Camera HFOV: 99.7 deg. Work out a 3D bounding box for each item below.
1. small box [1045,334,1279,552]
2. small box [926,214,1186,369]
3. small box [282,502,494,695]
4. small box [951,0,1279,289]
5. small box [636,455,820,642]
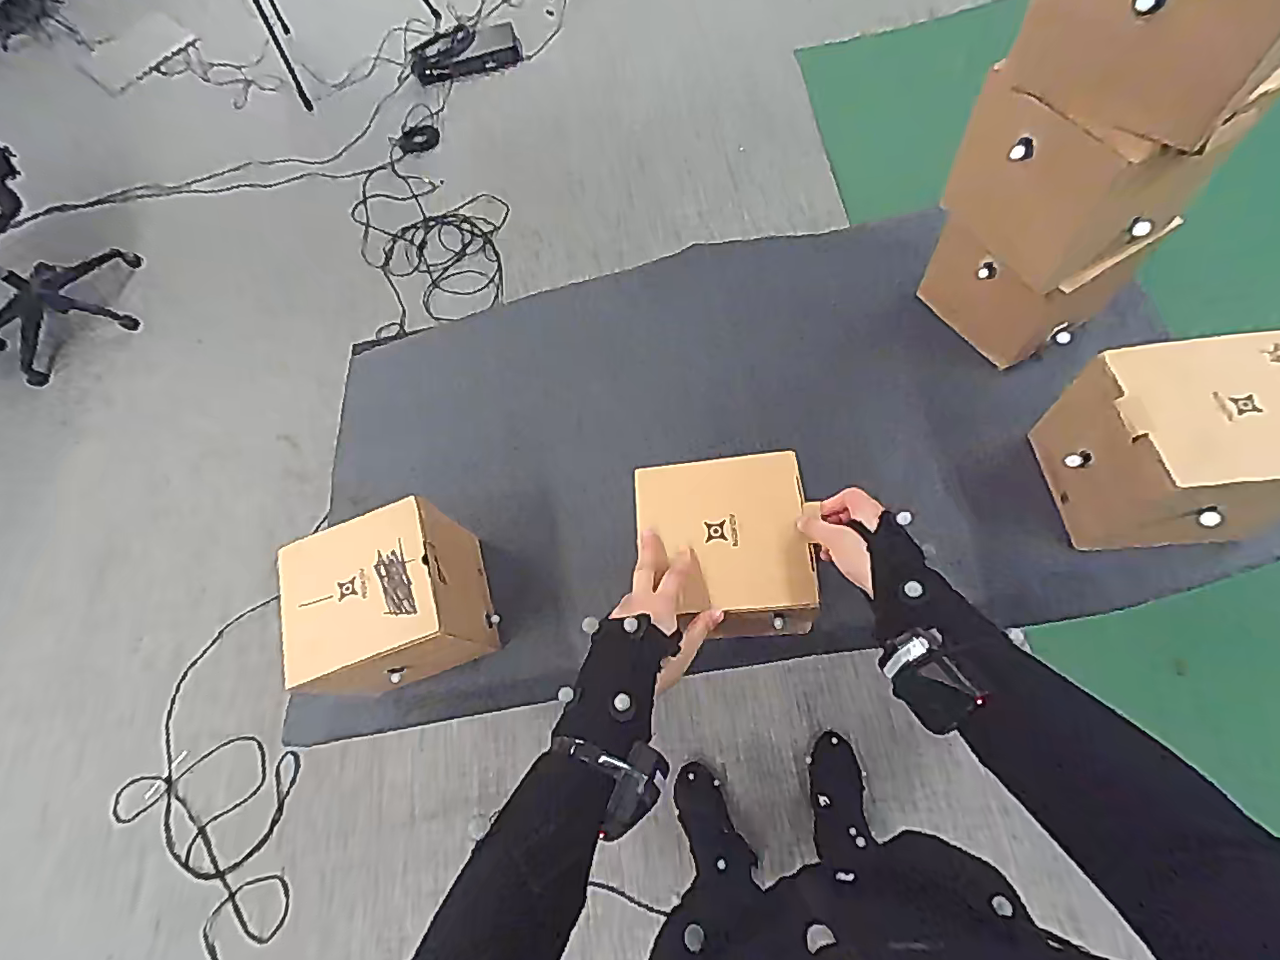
[{"bbox_3d":[0.580,-0.029,0.583,0.179,0.176,0.168,-6,62,9],"label":"small box"},{"bbox_3d":[0.517,-0.281,0.709,0.168,0.176,0.179,-32,67,-1],"label":"small box"},{"bbox_3d":[-0.295,0.152,0.664,0.179,0.176,0.168,-21,65,1],"label":"small box"},{"bbox_3d":[0.466,-0.339,0.562,0.168,0.176,0.179,-28,65,1],"label":"small box"},{"bbox_3d":[0.099,0.089,0.623,0.179,0.176,0.168,-7,65,9],"label":"small box"}]
